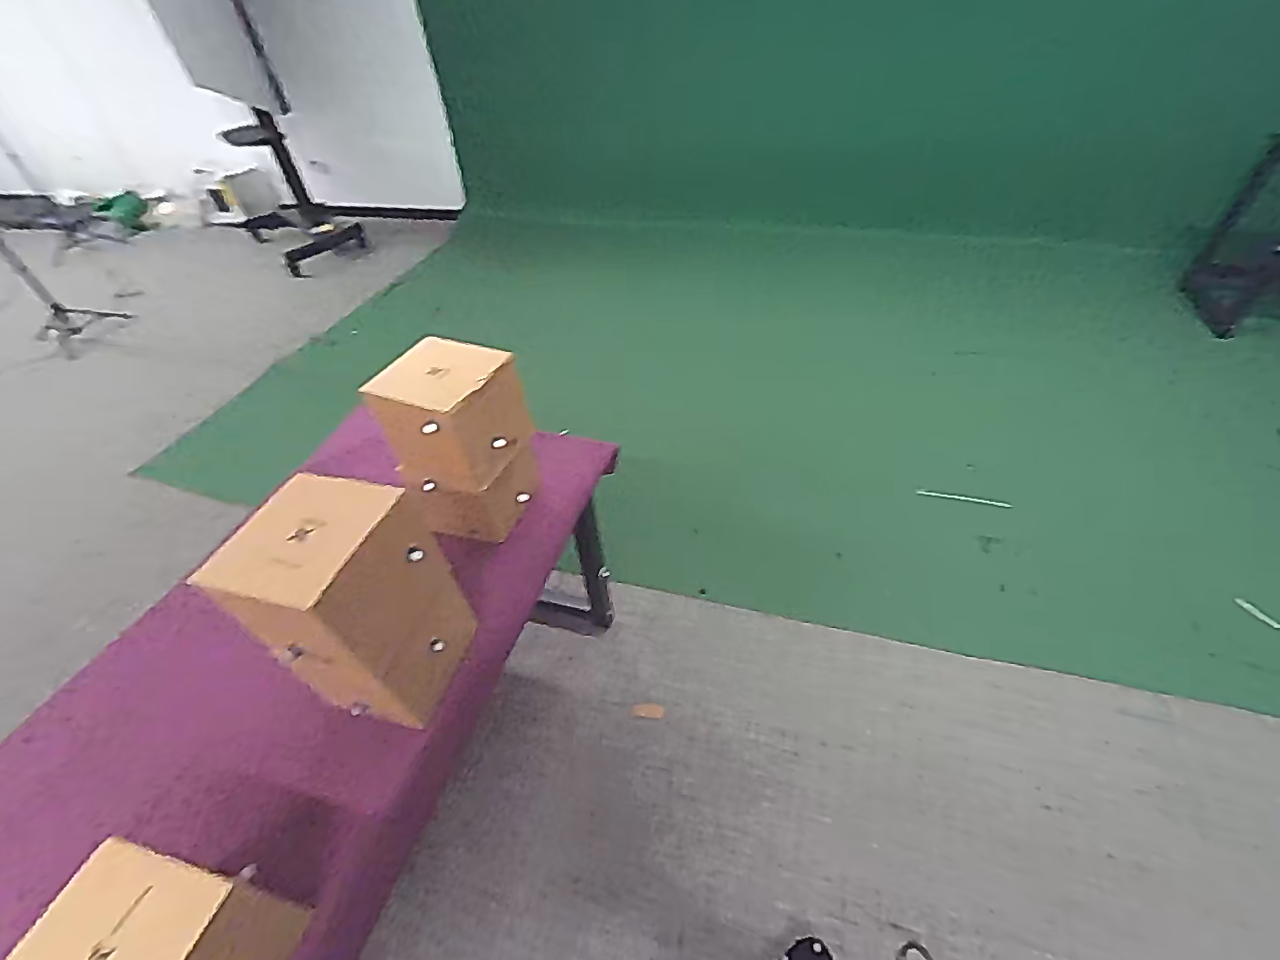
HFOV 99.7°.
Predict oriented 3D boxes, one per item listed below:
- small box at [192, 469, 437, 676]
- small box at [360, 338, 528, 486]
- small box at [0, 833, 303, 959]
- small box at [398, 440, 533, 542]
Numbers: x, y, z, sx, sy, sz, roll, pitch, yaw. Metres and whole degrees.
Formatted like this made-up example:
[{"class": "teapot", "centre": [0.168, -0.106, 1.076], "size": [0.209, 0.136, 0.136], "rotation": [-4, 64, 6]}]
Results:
[{"class": "small box", "centre": [-0.382, 0.114, 0.678], "size": [0.168, 0.176, 0.179], "rotation": [8, 46, 16]}, {"class": "small box", "centre": [-0.315, -0.113, 0.906], "size": [0.179, 0.176, 0.168], "rotation": [15, 48, 19]}, {"class": "small box", "centre": [-0.486, 0.490, 0.533], "size": [0.168, 0.176, 0.179], "rotation": [7, 44, 14]}, {"class": "small box", "centre": [-0.318, -0.009, 1.034], "size": [0.168, 0.176, 0.179], "rotation": [8, 45, 15]}]
